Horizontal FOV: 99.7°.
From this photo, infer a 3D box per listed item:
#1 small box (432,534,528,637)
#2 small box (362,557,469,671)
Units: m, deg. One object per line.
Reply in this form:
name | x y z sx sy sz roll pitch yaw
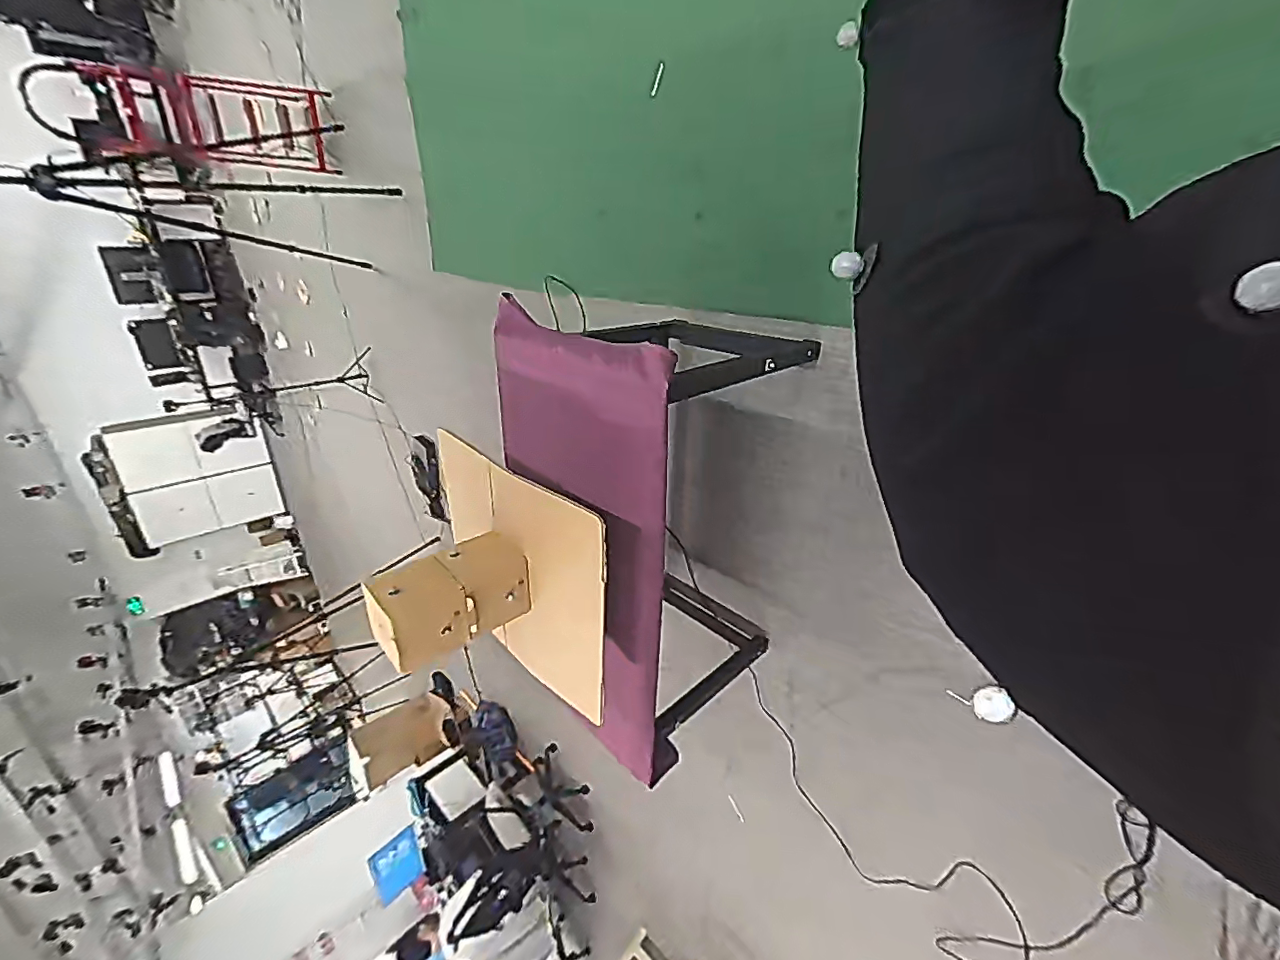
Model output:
small box | -0.398 0.253 1.357 0.179 0.176 0.168 27 126 40
small box | -0.517 0.298 1.255 0.179 0.176 0.168 27 125 40
